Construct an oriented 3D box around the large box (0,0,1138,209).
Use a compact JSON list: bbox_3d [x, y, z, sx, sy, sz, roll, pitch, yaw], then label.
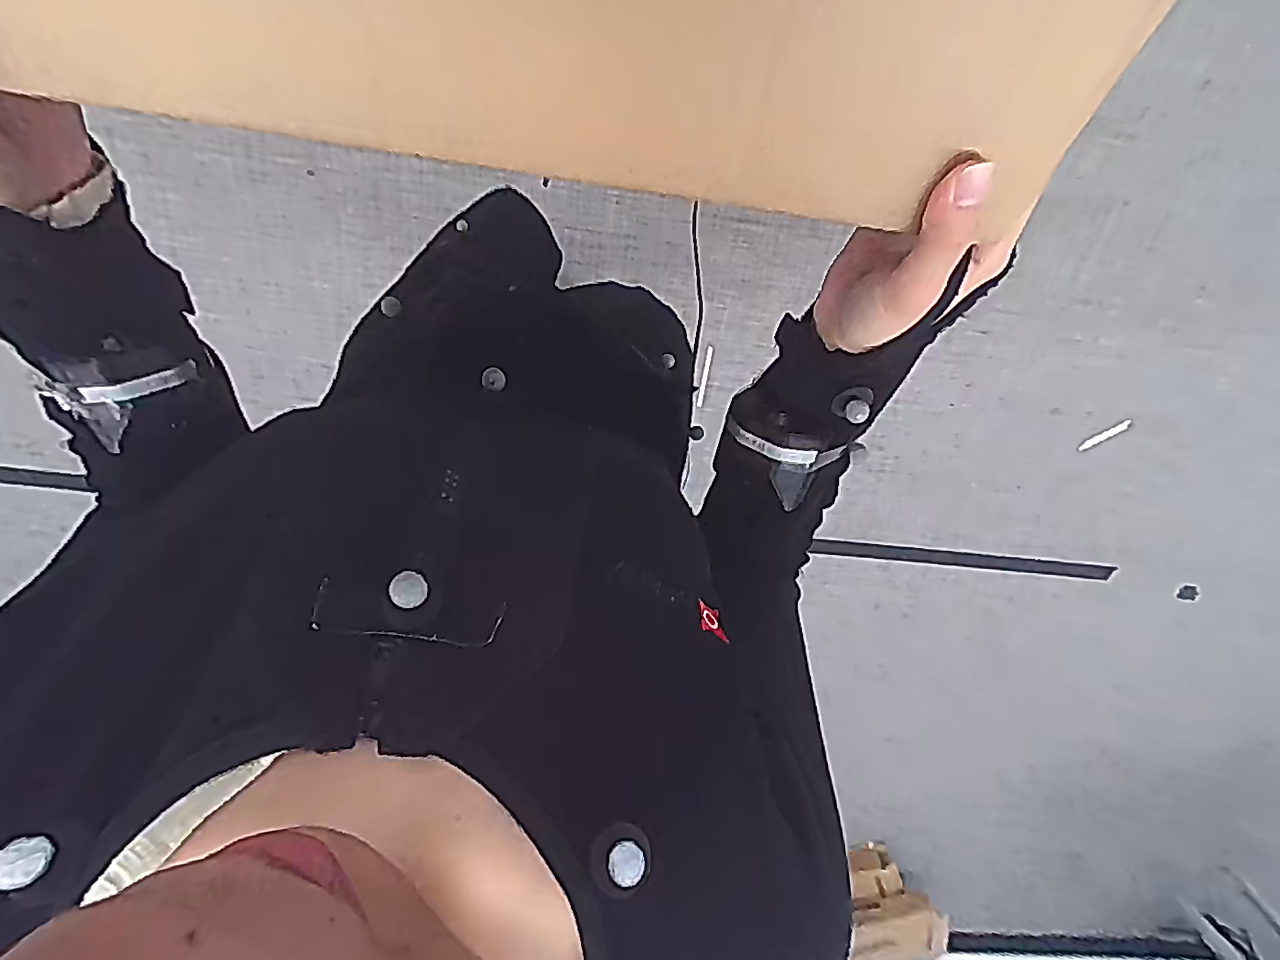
[{"bbox_3d":[-0.029,-0.336,0.180,0.408,0.320,0.320,4,143,-7],"label":"large box"}]
